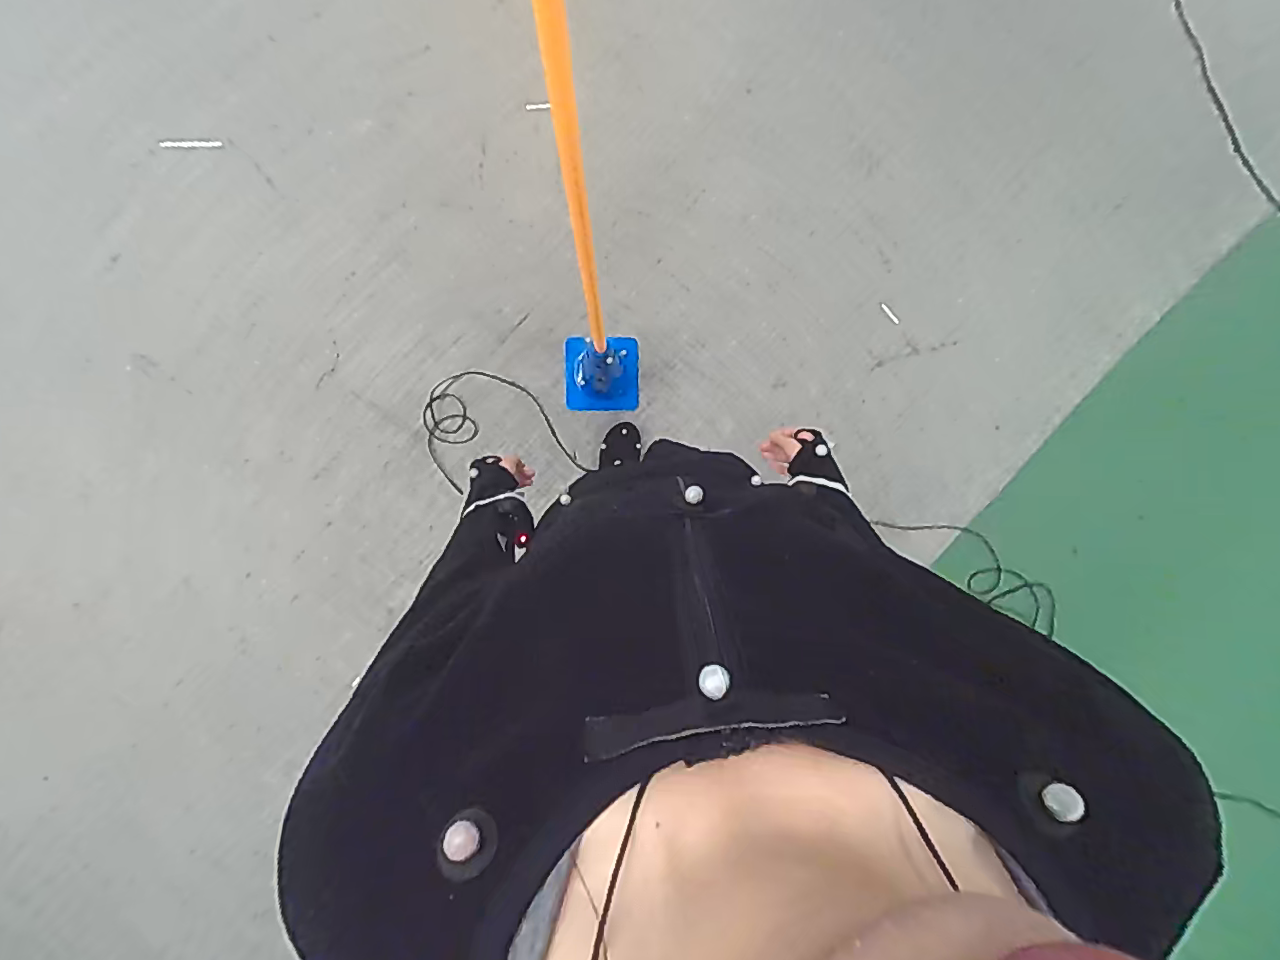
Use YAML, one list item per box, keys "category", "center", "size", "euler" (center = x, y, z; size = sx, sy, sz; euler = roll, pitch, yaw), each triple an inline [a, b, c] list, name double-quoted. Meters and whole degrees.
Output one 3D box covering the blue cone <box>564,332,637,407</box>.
- category: "blue cone"
  center: [-0.094, -0.288, 1.282]
  size: [0.192, 0.380, 0.193]
  euler: [-2, 91, -4]
